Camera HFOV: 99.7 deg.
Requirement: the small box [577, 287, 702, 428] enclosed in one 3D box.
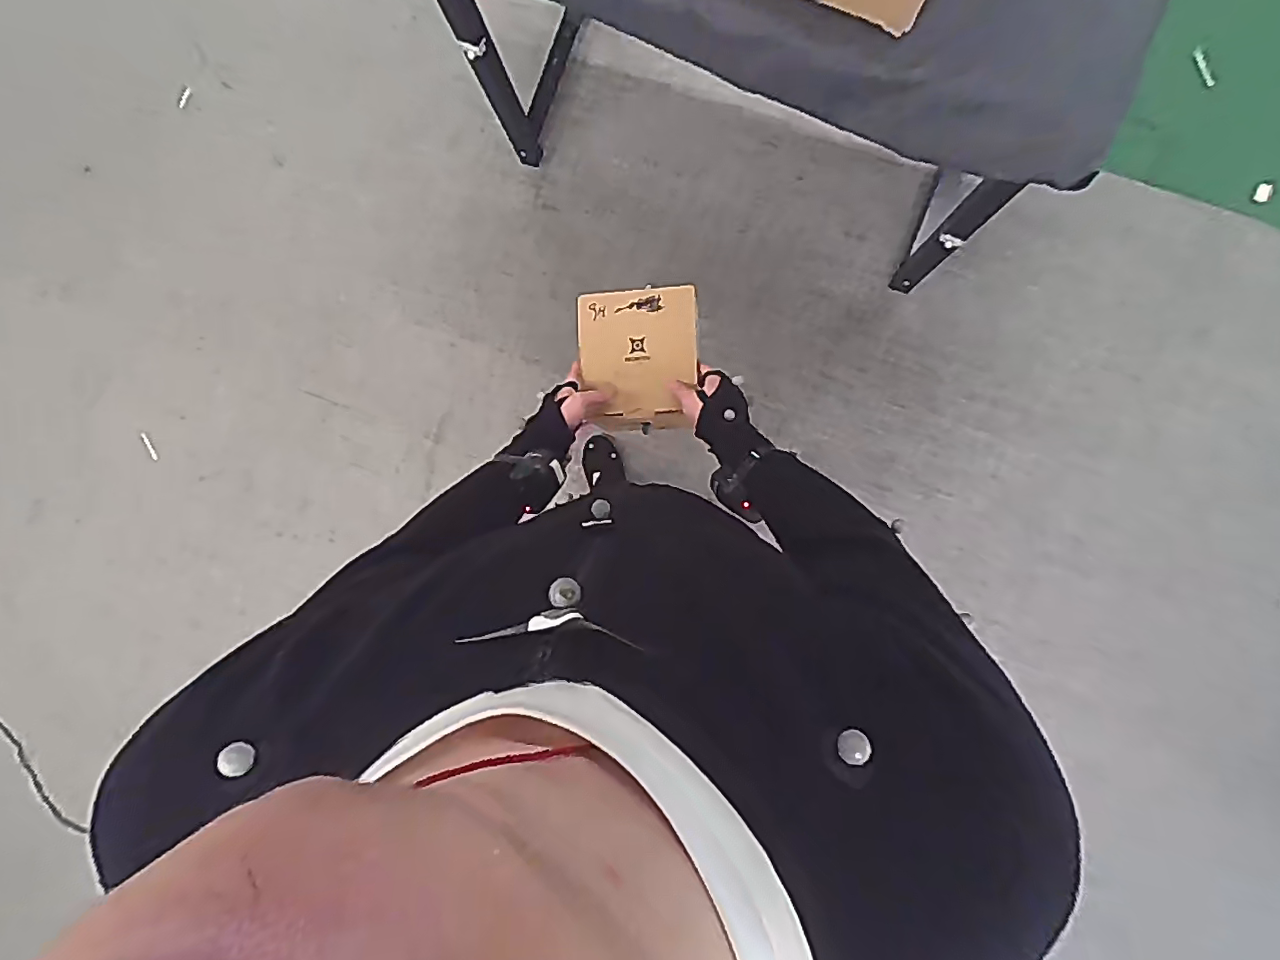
[{"bbox_3d":[0.007,-0.178,0.844,0.168,0.176,0.179,-5,88,8],"label":"small box"}]
